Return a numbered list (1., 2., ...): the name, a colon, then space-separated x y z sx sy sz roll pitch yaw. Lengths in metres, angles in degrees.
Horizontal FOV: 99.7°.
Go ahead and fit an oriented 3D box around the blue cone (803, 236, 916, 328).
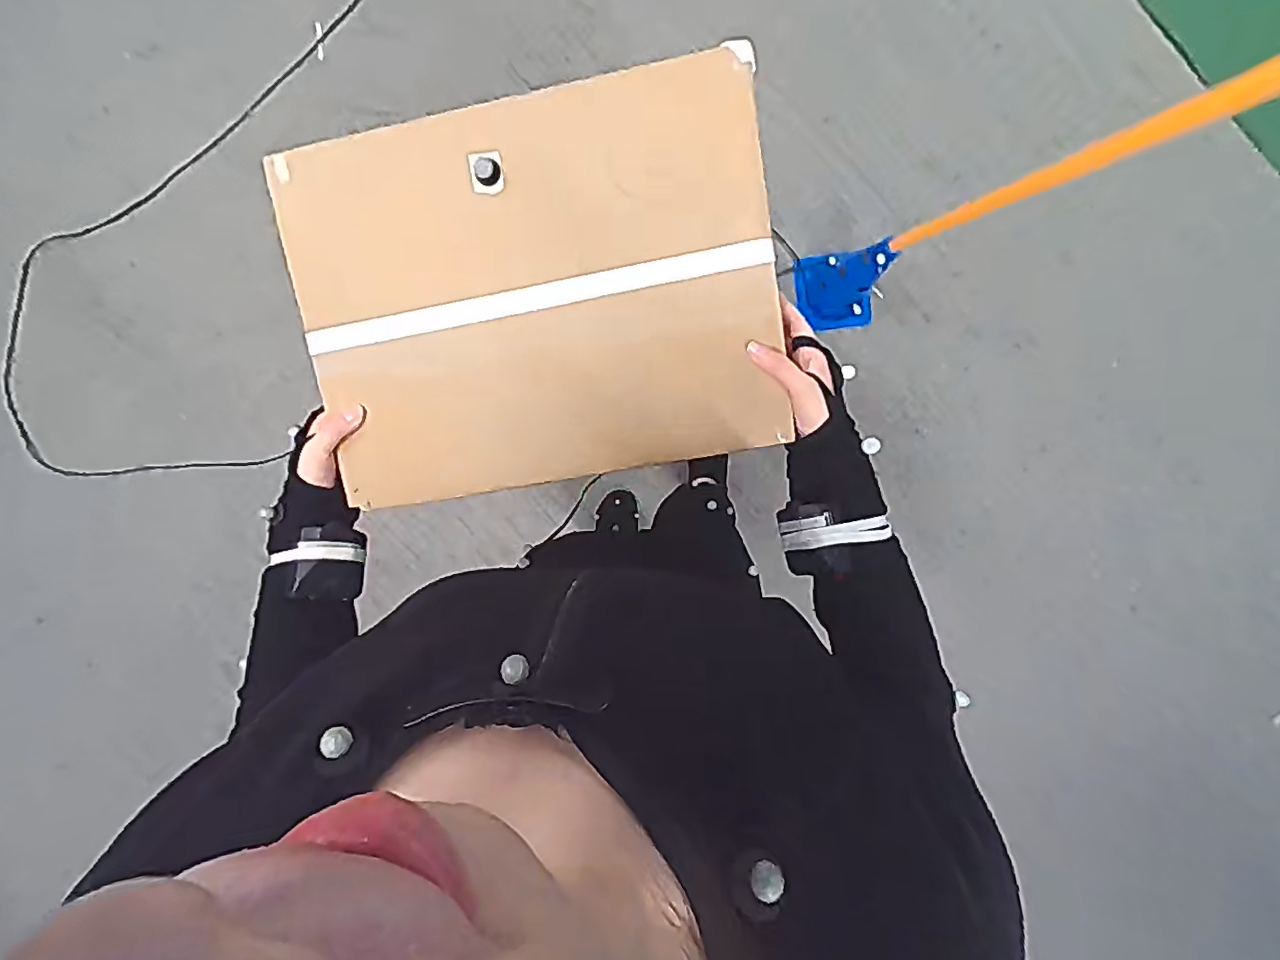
1. blue cone: 0.535 -0.499 1.273 0.193 0.380 0.192 -9 95 -1
